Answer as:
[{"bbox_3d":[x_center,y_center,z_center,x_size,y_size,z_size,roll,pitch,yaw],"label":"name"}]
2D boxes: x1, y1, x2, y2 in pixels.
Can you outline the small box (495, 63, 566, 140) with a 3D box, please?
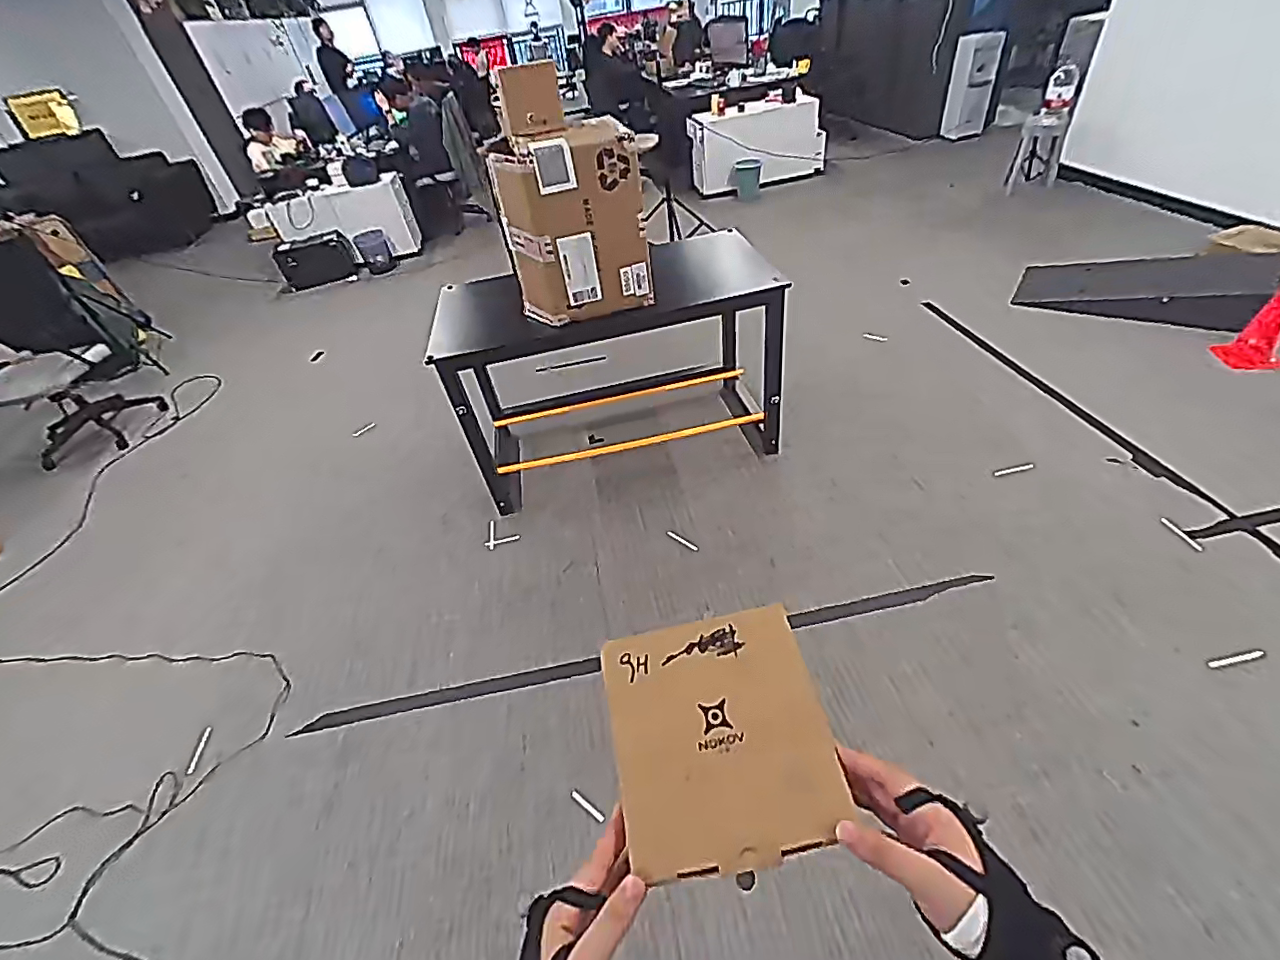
[{"bbox_3d":[-0.329,-1.140,1.628,0.168,0.176,0.179,-16,41,-8],"label":"small box"}]
